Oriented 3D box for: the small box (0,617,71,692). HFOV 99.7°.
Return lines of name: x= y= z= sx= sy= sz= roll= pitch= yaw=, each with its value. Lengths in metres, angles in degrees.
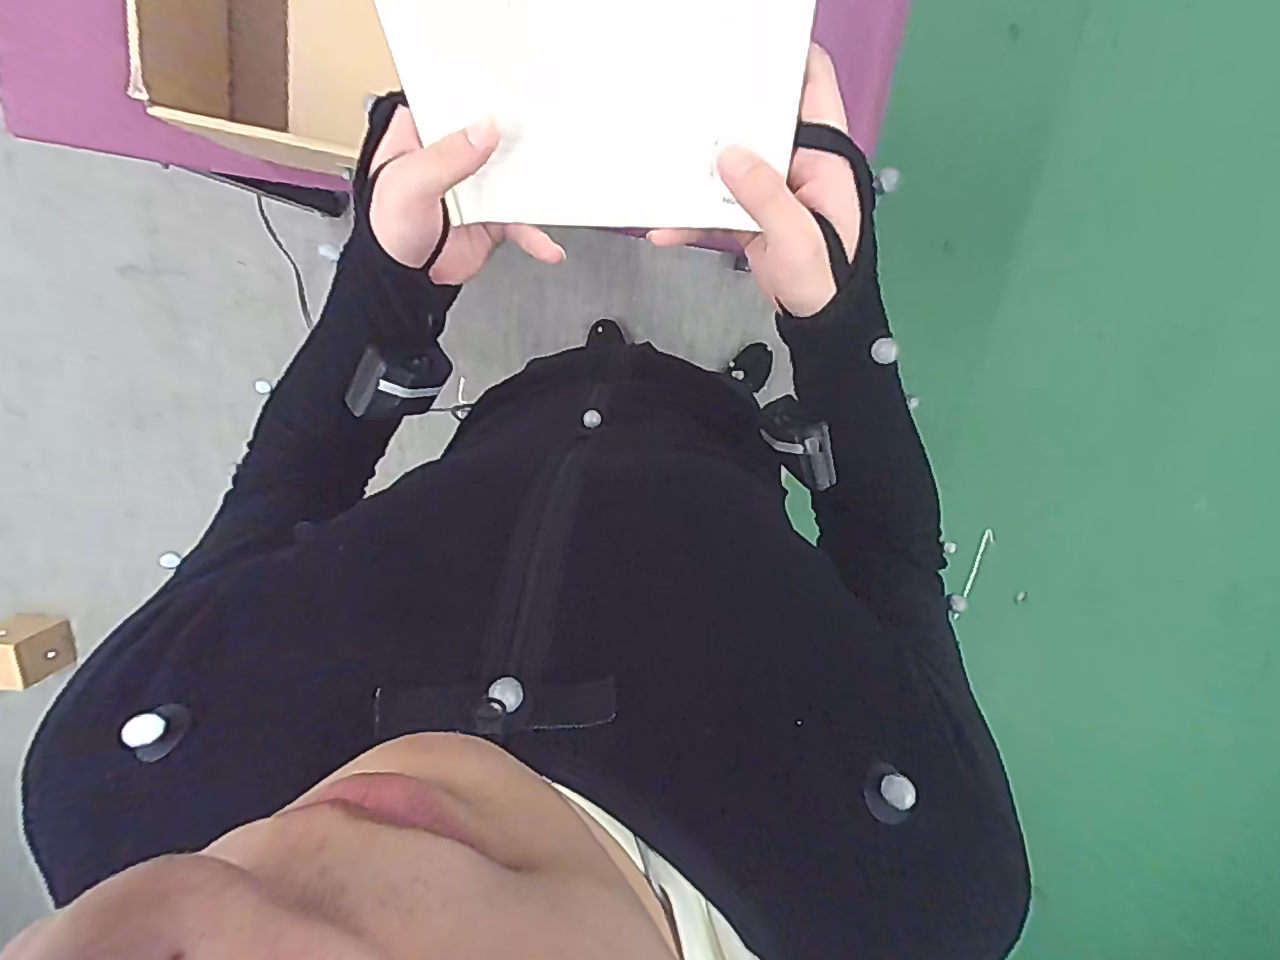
small box: x=-2.000 y=0.557 z=1.742 sx=0.179 sy=0.176 sz=0.168 roll=5 pitch=105 yaw=0
